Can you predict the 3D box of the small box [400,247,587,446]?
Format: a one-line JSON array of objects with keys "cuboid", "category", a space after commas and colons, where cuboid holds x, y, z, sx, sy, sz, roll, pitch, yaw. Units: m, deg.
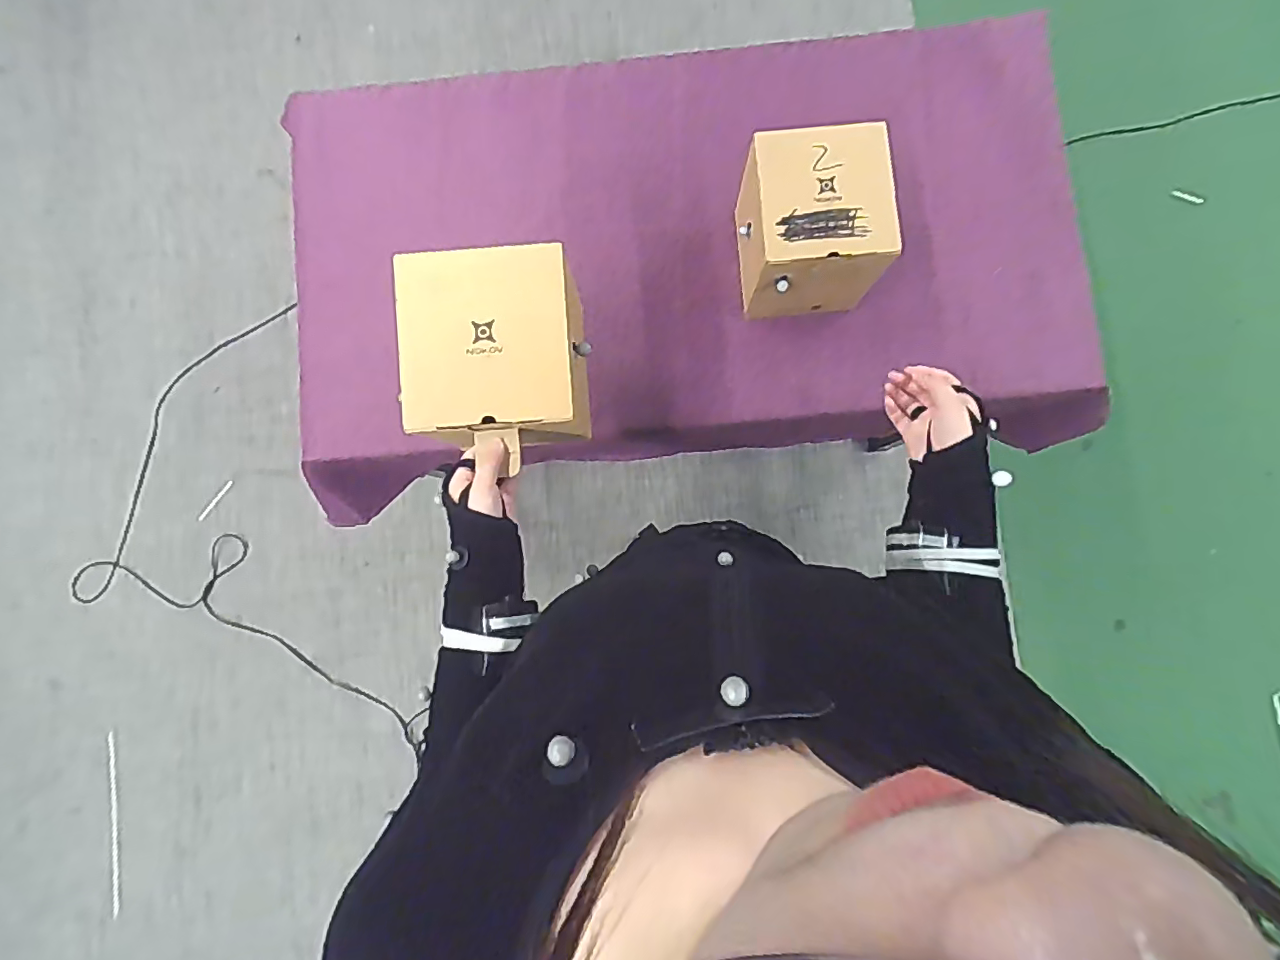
[{"cuboid": [-0.153, -0.139, 0.616, 0.168, 0.176, 0.179, -5, 88, 0], "category": "small box"}]
